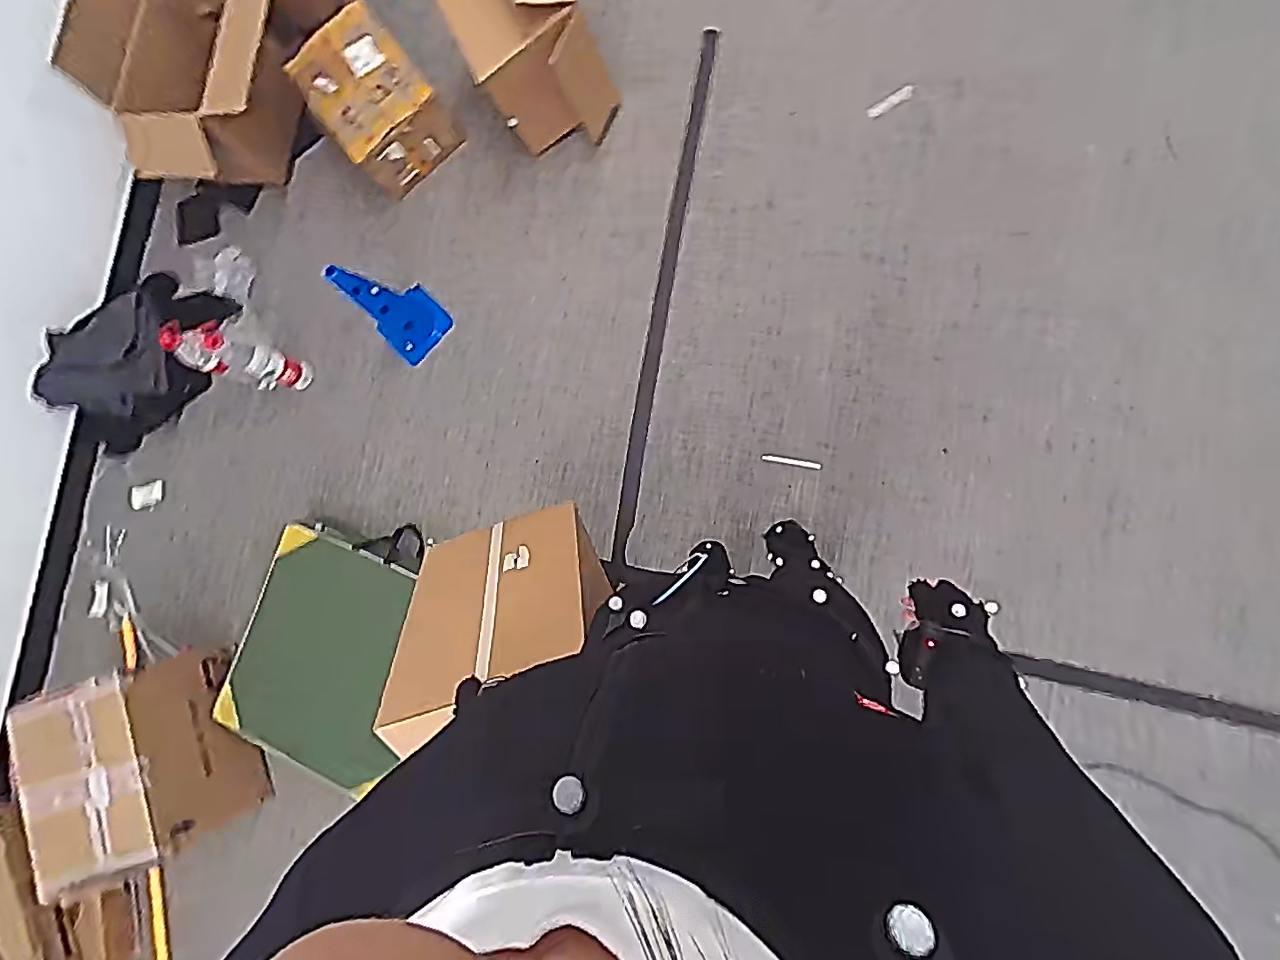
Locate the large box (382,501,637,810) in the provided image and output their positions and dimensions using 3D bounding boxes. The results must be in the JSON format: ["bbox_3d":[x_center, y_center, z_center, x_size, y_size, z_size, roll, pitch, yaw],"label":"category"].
[{"bbox_3d":[-0.212,0.307,1.009,0.320,0.408,0.320,-16,123,2],"label":"large box"}]
